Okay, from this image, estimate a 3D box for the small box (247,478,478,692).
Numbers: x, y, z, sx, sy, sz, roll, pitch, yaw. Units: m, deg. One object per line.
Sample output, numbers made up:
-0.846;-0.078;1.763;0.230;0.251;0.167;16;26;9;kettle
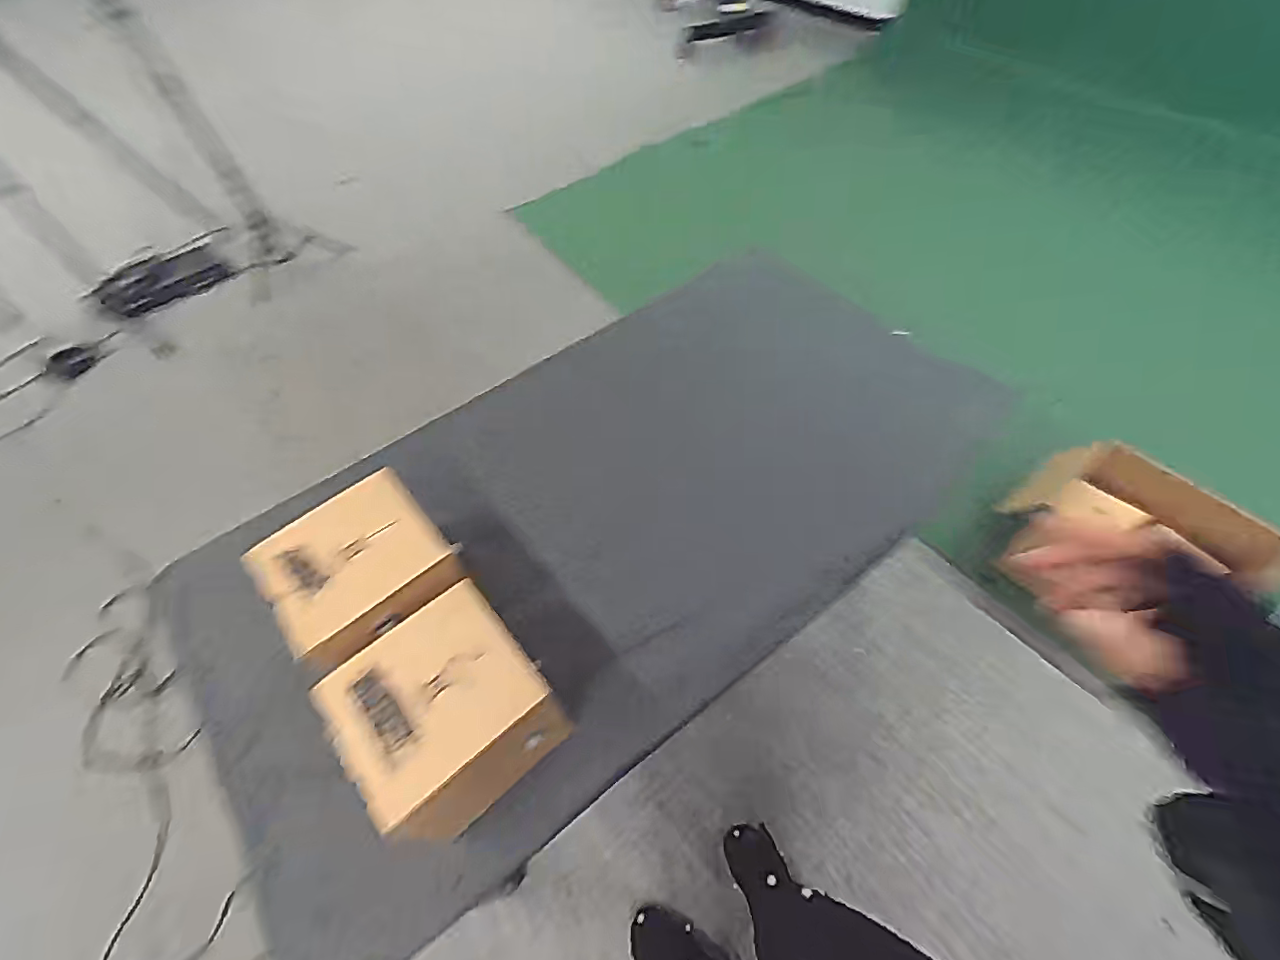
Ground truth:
-0.337;0.138;0.687;0.179;0.176;0.168;-38;62;-21;small box
